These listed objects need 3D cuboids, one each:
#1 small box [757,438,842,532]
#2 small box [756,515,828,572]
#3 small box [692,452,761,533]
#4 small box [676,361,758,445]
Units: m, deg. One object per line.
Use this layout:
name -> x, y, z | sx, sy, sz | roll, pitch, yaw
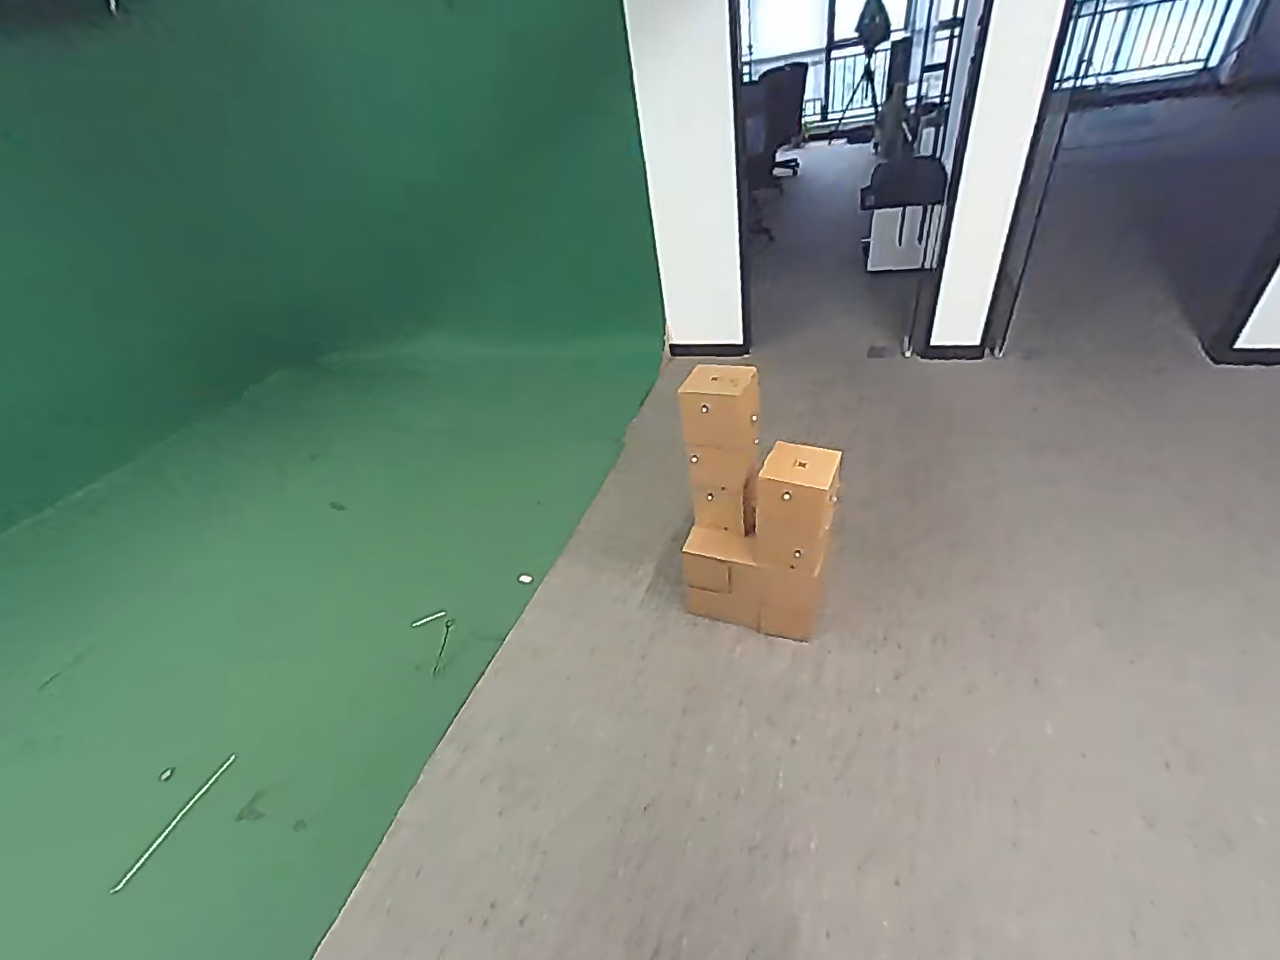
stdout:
small box -> 0.419, 0.014, 1.429 | 0.179, 0.176, 0.168 | 12, 43, 26
small box -> 0.435, 0.133, 1.538 | 0.168, 0.176, 0.179 | 13, 42, 25
small box -> 0.275, 0.037, 1.701 | 0.168, 0.176, 0.179 | 10, 41, 26
small box -> 0.218, -0.213, 1.493 | 0.179, 0.176, 0.168 | 9, 41, 25
